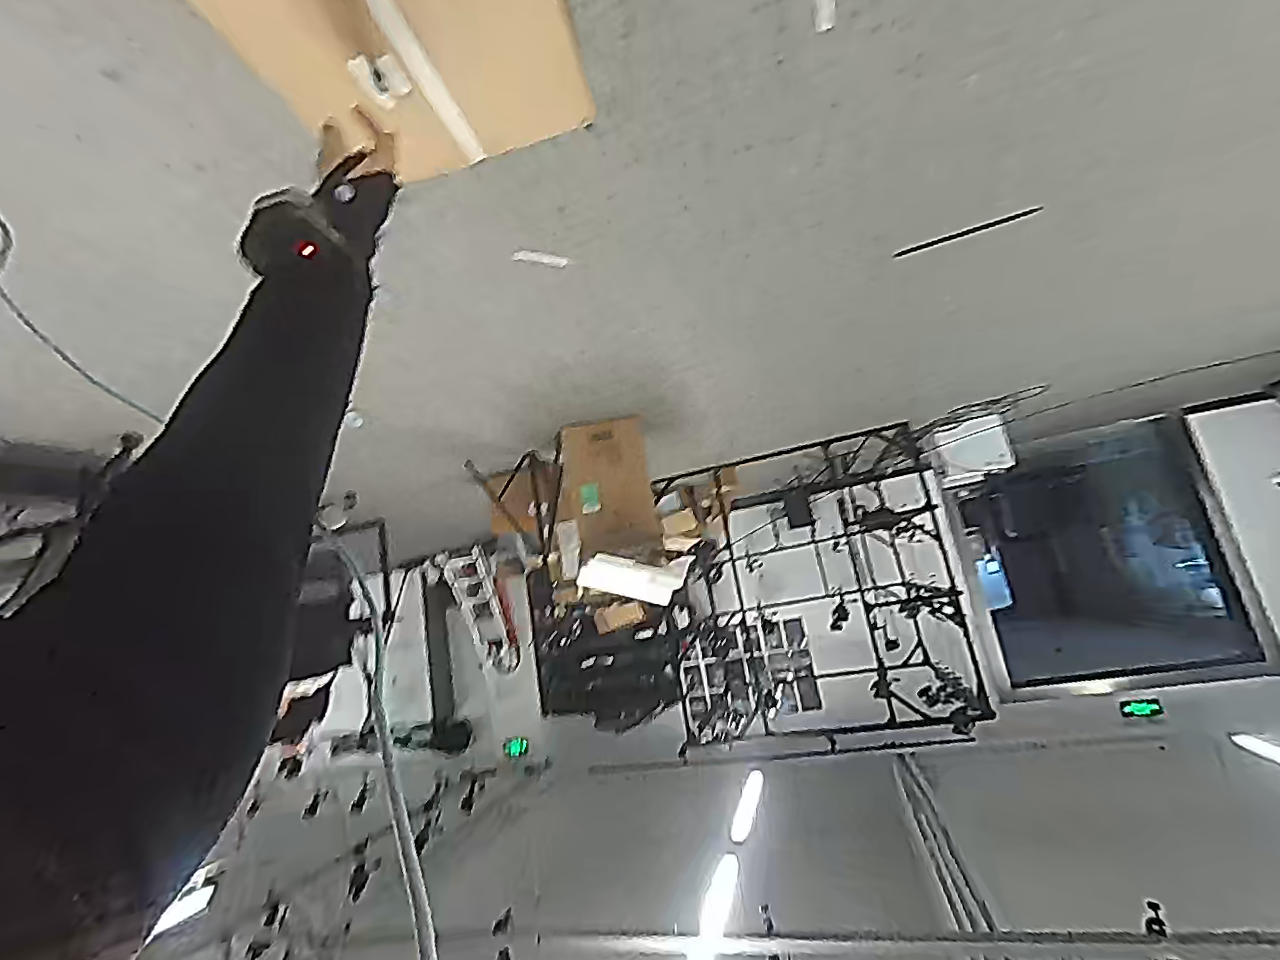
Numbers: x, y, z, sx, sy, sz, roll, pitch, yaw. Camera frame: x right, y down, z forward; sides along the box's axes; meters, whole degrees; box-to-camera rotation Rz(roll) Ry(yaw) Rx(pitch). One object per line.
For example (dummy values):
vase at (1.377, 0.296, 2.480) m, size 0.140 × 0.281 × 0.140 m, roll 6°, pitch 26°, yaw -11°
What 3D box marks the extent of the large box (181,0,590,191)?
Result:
large box at (-0.274, -0.588, 0.529) m, size 0.320 × 0.320 × 0.408 m, roll -12°, pitch 170°, yaw 8°
